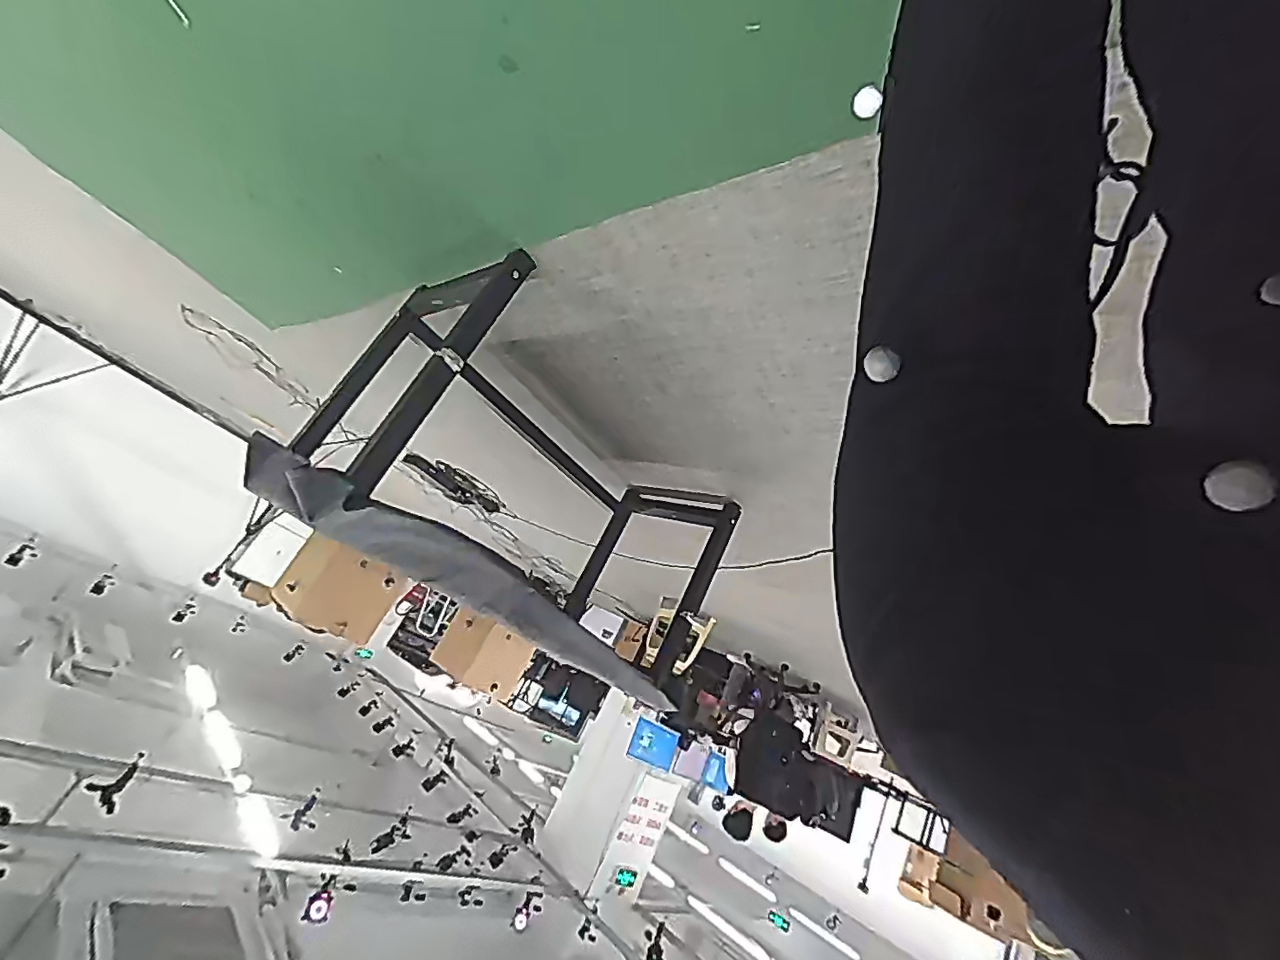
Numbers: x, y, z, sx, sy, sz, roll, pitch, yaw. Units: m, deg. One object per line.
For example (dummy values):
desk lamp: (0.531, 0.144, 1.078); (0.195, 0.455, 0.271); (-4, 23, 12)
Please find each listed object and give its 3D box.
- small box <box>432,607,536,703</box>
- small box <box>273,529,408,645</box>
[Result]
small box: (-0.407, 0.455, 1.431); (0.179, 0.176, 0.168); (8, 152, 45)
small box: (-0.629, 0.221, 1.150); (0.179, 0.176, 0.168); (10, 154, 44)
